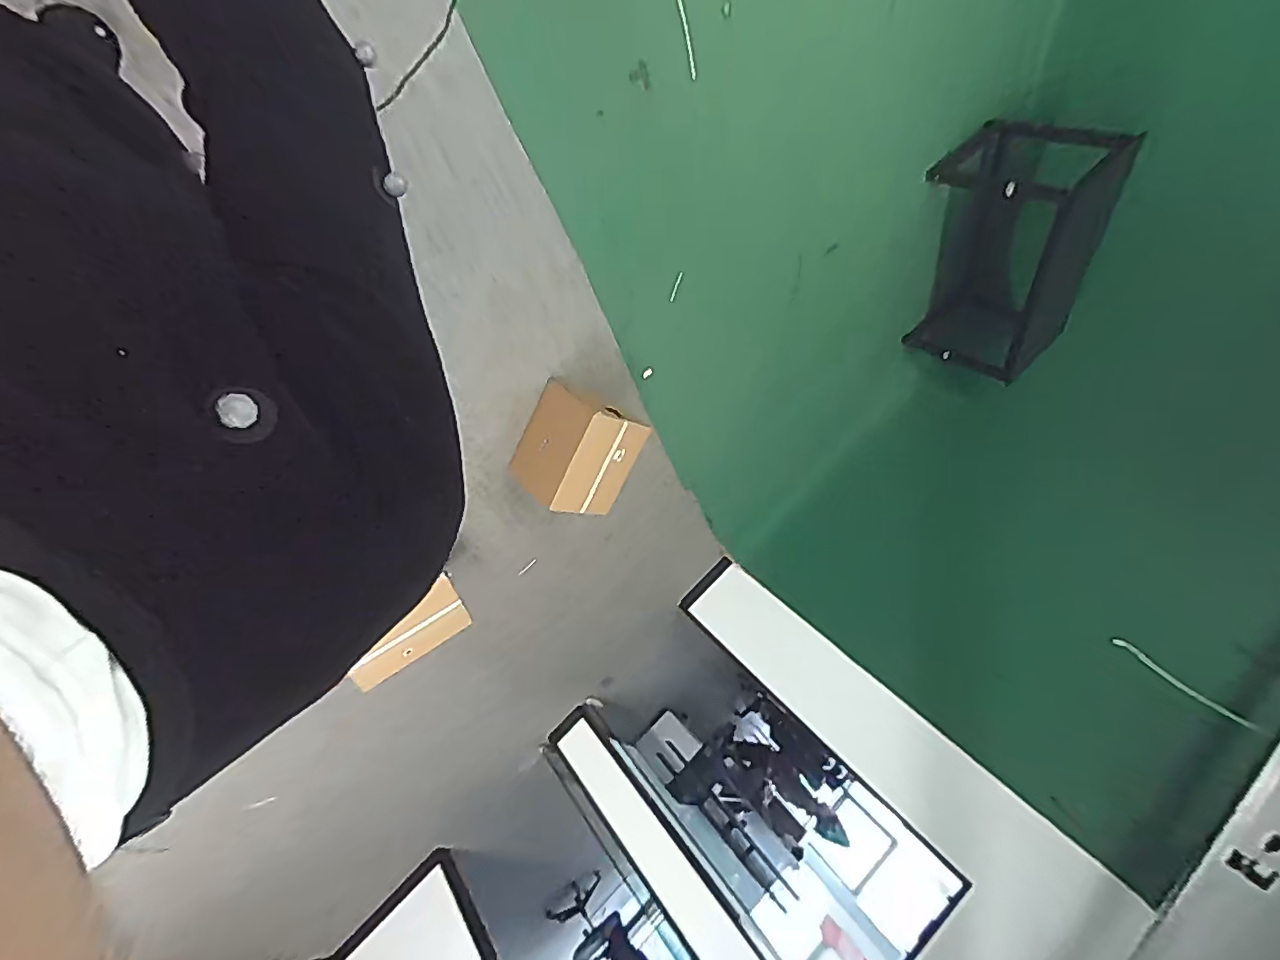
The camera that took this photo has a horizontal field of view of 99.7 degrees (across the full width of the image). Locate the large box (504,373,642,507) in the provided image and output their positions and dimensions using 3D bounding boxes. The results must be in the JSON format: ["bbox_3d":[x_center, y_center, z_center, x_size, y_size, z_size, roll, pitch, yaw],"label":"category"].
[{"bbox_3d":[-0.267,-0.146,2.098,0.320,0.320,0.408,8,114,-50],"label":"large box"}]
